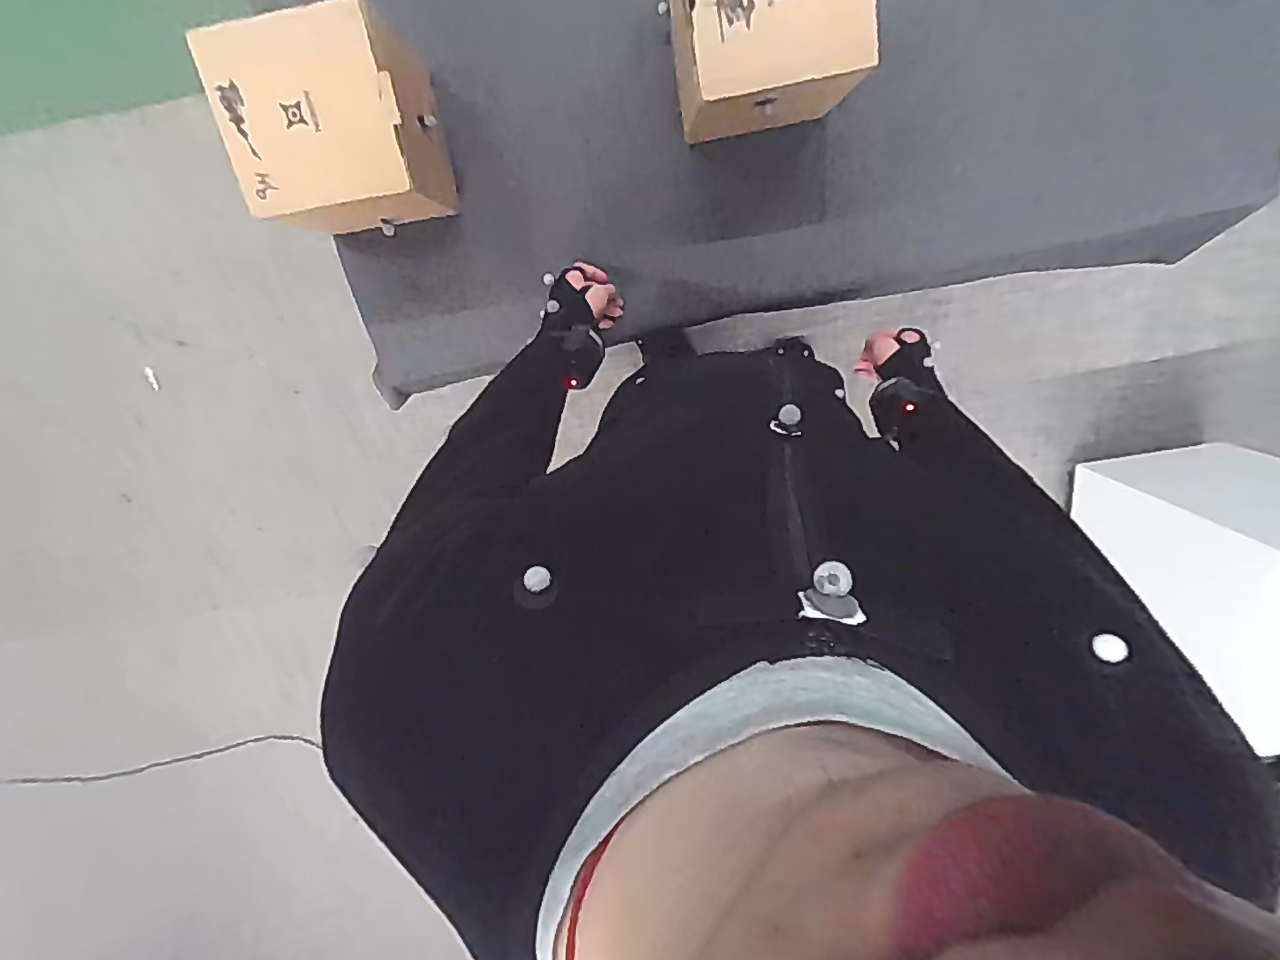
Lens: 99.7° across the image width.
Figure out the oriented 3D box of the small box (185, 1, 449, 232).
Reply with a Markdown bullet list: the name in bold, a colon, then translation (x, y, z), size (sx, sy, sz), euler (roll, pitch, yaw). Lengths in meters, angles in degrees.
- **small box**: translation (-0.331, -0.384, 0.604), size (0.179, 0.176, 0.168), euler (-9, 109, 2)

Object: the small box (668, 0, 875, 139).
- **small box**: translation (0.124, -0.482, 0.566), size (0.179, 0.176, 0.168), euler (-10, 110, 3)
